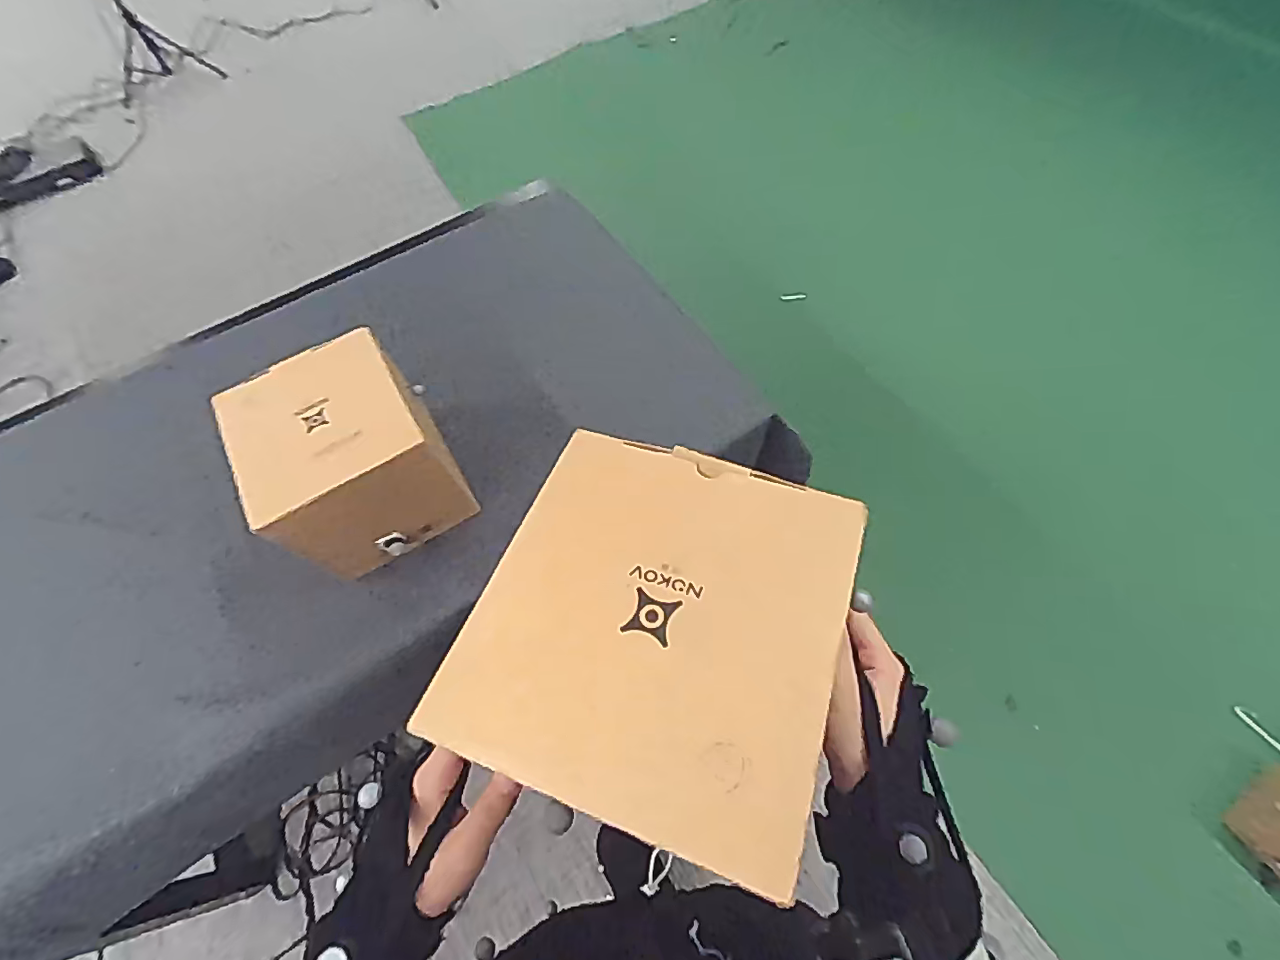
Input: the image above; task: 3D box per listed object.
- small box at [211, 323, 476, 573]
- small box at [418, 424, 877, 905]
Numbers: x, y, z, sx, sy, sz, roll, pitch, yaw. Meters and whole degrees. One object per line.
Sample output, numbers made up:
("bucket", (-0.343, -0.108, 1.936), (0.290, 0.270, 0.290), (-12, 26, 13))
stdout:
("small box", (-0.307, -0.026, 0.587), (0.168, 0.176, 0.179), (-32, 66, -11))
("small box", (0.019, 0.100, 0.311), (0.168, 0.176, 0.179), (15, 59, 16))
